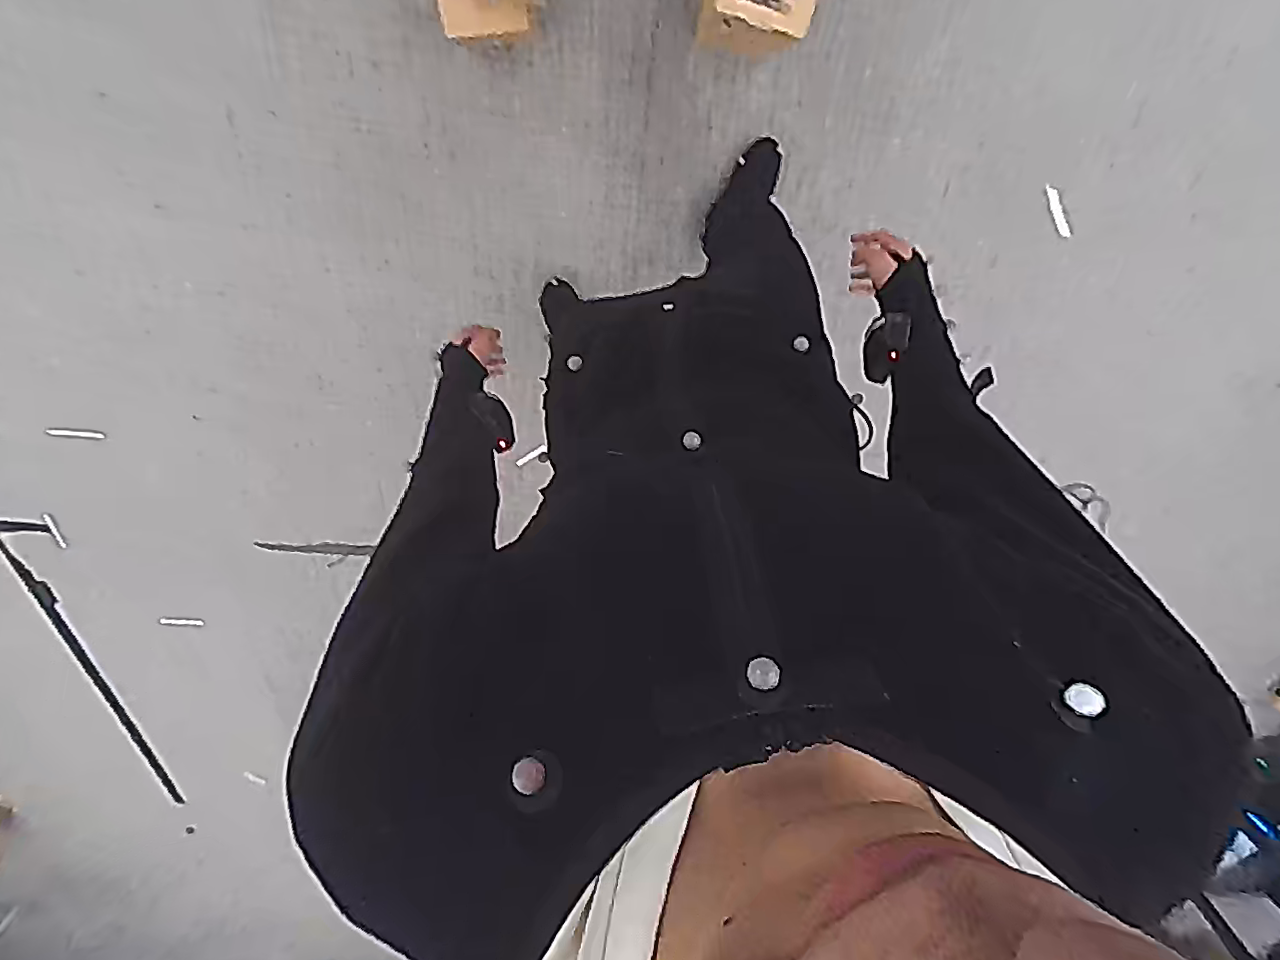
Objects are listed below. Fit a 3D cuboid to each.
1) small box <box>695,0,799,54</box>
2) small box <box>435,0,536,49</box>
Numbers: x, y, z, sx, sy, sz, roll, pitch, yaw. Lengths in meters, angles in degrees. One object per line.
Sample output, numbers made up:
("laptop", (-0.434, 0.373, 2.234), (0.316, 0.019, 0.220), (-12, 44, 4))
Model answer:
("small box", (0.214, -0.971, 1.076), (0.179, 0.176, 0.168), (4, 122, -6))
("small box", (-0.306, -0.971, 1.054), (0.168, 0.176, 0.179), (-5, 122, 1))
